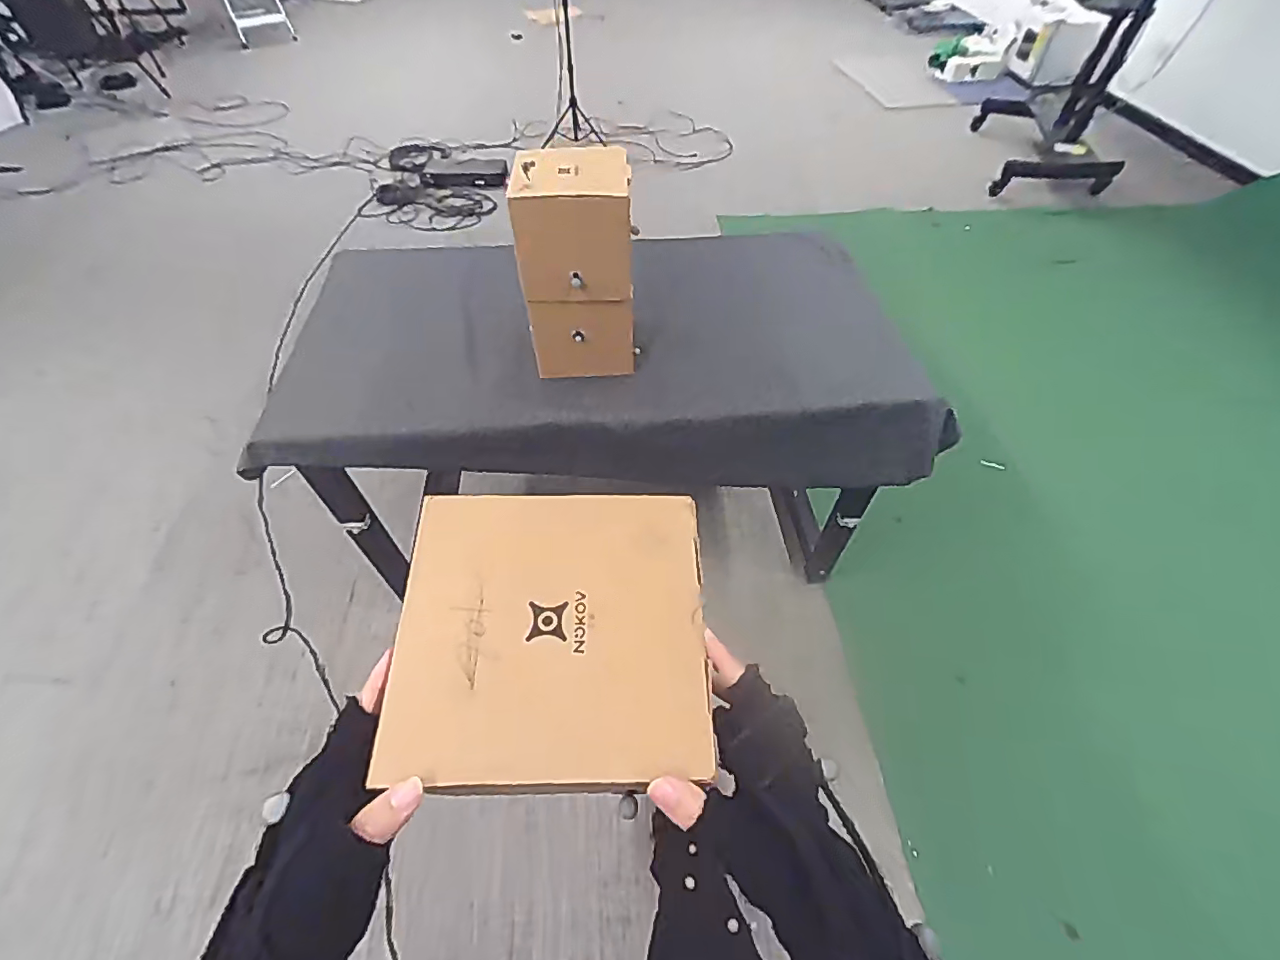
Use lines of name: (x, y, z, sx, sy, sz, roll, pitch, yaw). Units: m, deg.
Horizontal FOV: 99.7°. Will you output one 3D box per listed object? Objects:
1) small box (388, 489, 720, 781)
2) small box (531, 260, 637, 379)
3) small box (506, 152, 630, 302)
small box: (-0.049, 0.118, 0.391, 0.179, 0.176, 0.168, -2, 58, -2)
small box: (-0.104, -0.305, 1.003, 0.179, 0.176, 0.168, -5, 52, -6)
small box: (-0.106, -0.402, 0.872, 0.179, 0.176, 0.168, -1, 51, -2)
